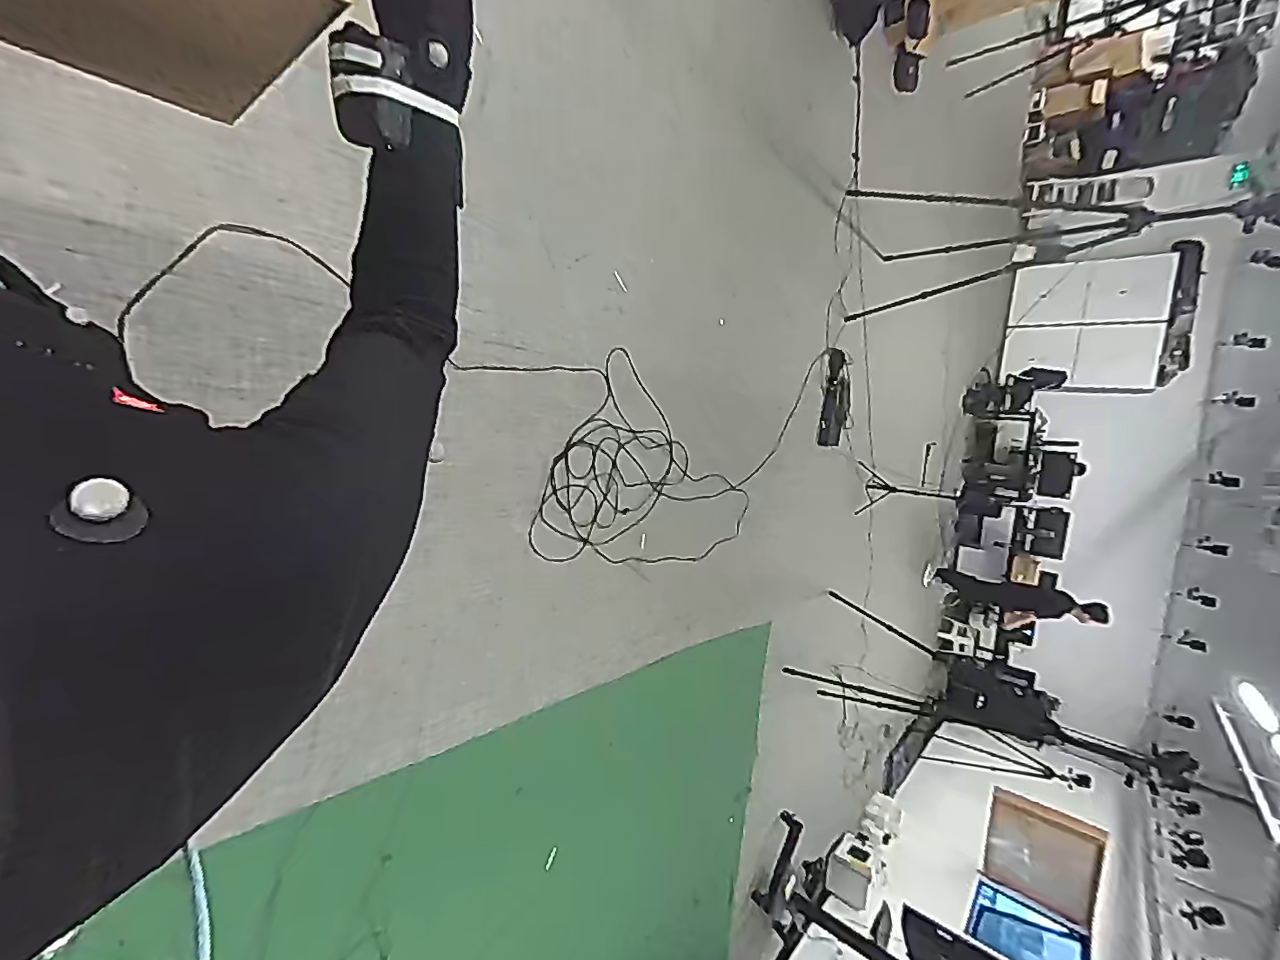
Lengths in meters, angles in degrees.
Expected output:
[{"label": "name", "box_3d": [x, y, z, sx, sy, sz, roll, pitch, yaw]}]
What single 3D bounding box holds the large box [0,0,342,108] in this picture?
[{"label": "large box", "box_3d": [-0.409, -0.474, 0.271, 0.408, 0.320, 0.320, -5, 105, -49]}]
